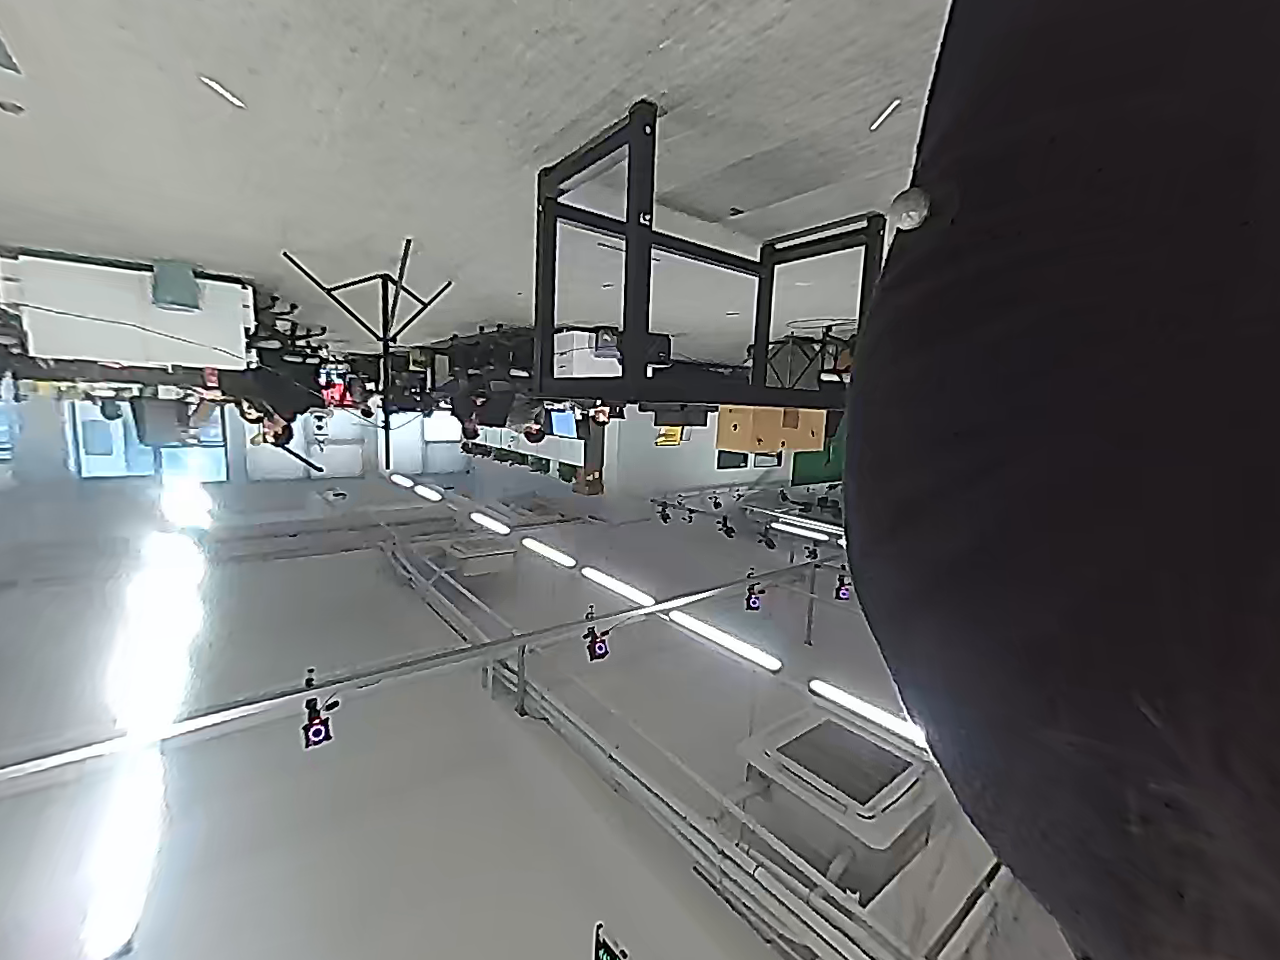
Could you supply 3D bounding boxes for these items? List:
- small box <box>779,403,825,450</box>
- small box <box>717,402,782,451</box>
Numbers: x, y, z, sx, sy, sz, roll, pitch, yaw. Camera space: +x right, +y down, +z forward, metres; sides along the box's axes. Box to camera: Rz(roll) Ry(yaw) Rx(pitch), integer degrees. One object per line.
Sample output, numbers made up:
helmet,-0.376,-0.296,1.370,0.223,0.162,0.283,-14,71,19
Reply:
small box,0.618,-0.215,2.155,0.179,0.176,0.168,-4,-169,-36
small box,0.403,-0.198,1.988,0.179,0.176,0.168,-5,-168,-39
